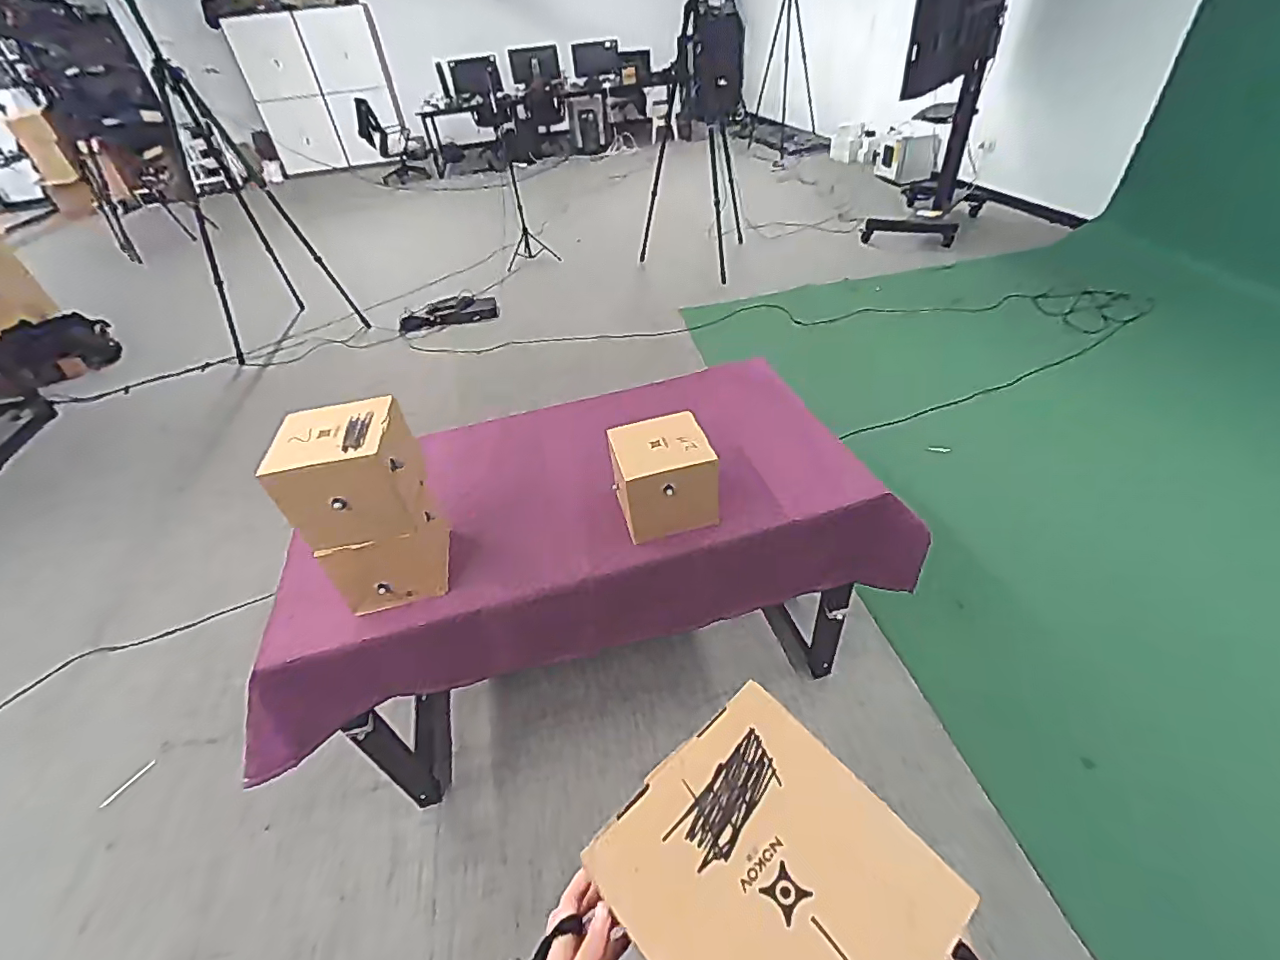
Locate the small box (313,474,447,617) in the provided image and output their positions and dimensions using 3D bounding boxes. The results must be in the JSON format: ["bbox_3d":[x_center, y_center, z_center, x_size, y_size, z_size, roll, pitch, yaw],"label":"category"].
[{"bbox_3d":[-0.463,0.119,0.994,0.168,0.176,0.179,-13,42,-8],"label":"small box"}]

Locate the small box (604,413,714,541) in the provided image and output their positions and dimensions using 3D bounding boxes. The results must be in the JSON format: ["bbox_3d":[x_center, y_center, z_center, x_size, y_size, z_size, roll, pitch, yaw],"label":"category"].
[{"bbox_3d":[0.040,-0.002,1.060,0.179,0.176,0.168,-14,42,-7],"label":"small box"}]
